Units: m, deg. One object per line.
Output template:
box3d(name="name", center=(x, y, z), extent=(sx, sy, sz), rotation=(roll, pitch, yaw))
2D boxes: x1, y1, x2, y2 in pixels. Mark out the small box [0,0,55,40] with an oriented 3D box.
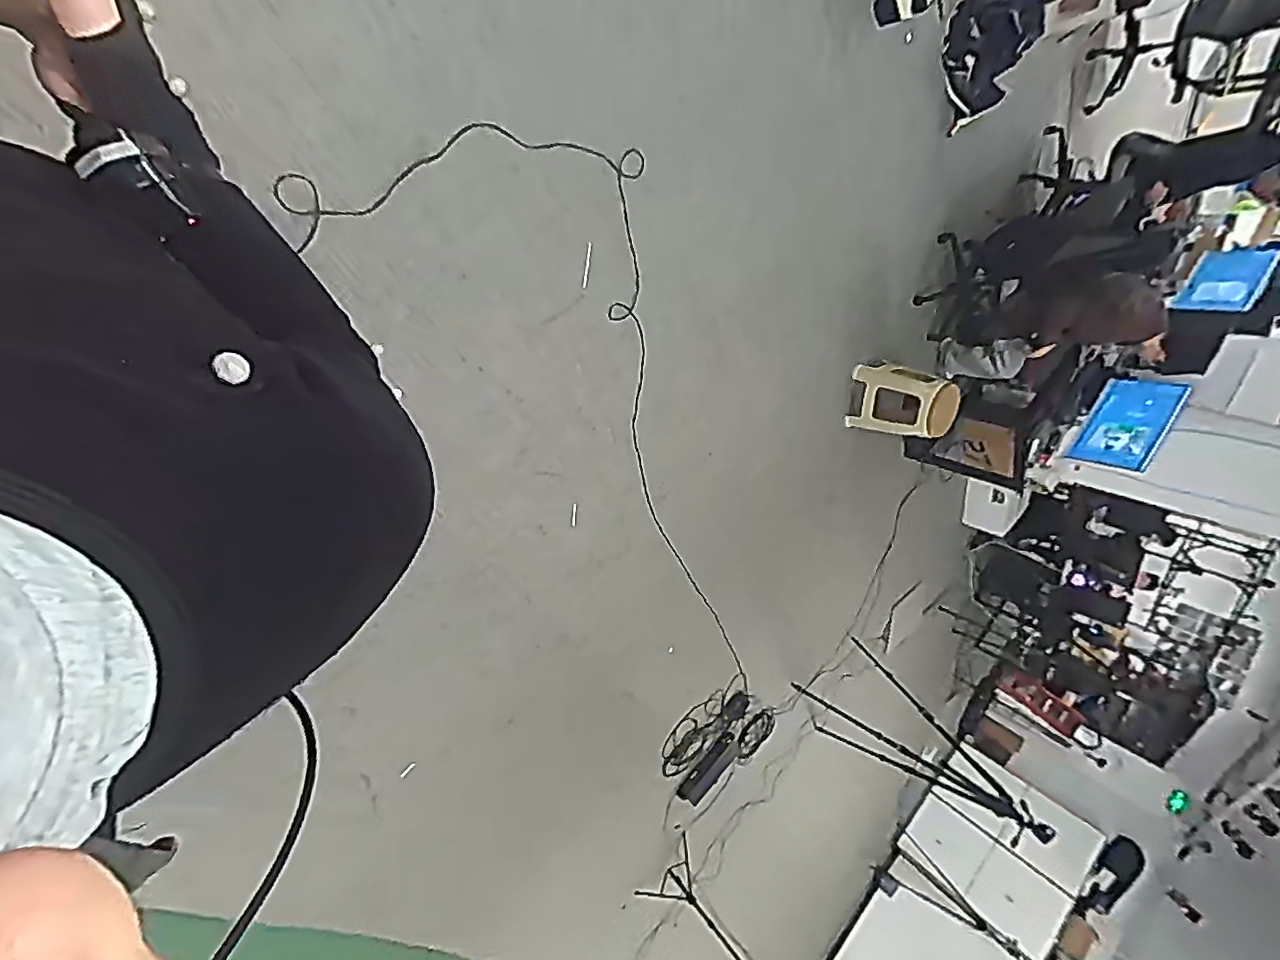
box3d(name="small box", center=(-0.418, -0.336, 0.248), extent=(0.179, 0.176, 0.168), rotation=(-15, 121, -42))
